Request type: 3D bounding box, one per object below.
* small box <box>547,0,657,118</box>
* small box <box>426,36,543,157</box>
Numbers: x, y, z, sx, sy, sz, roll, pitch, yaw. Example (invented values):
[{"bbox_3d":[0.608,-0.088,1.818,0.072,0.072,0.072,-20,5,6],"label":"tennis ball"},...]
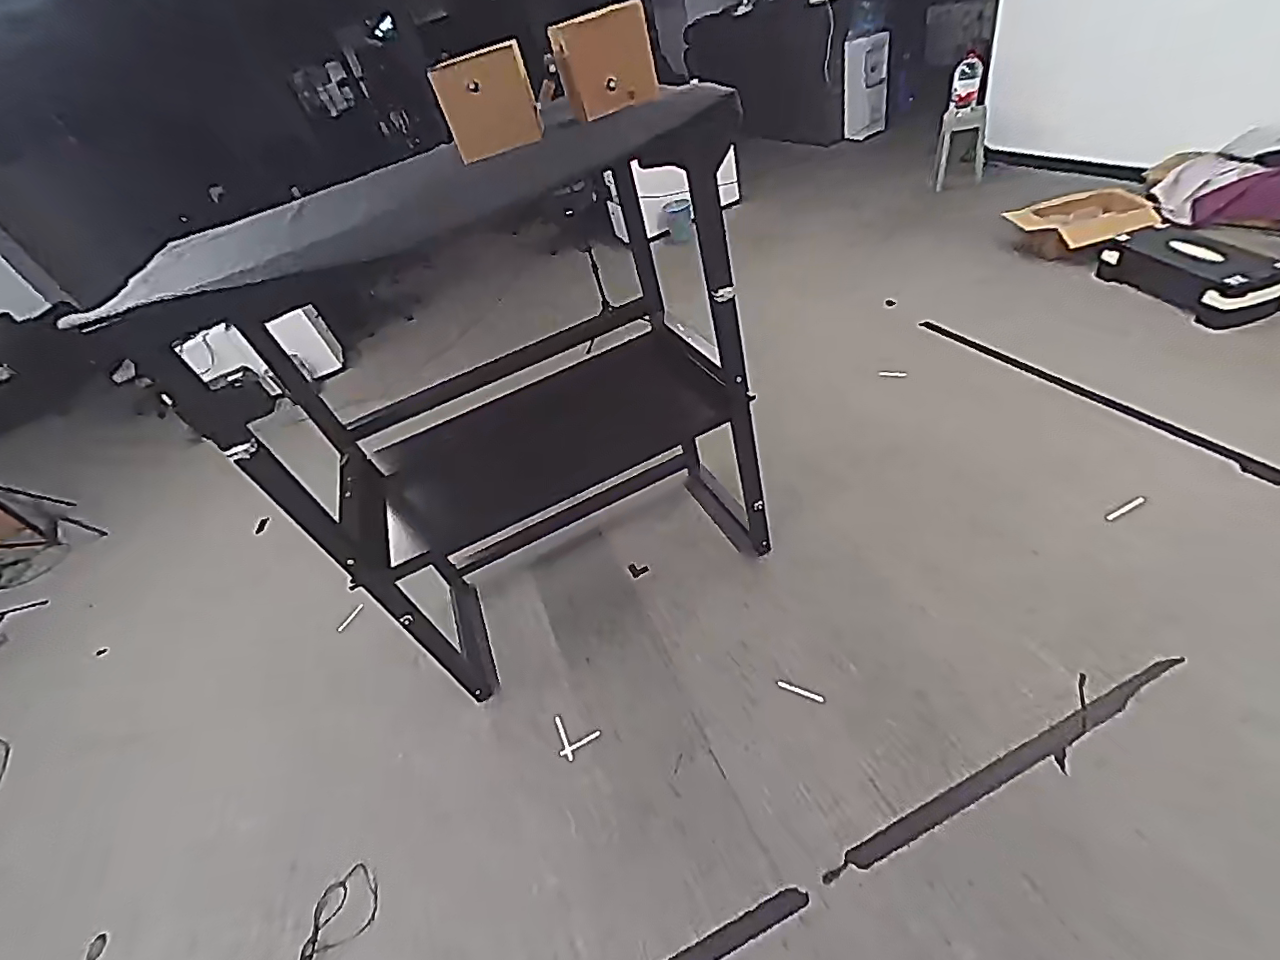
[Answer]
[{"bbox_3d":[-0.079,-0.884,1.136,0.168,0.176,0.179,-23,42,-3],"label":"small box"},{"bbox_3d":[-0.319,-0.807,1.142,0.179,0.176,0.168,-15,42,4],"label":"small box"}]
